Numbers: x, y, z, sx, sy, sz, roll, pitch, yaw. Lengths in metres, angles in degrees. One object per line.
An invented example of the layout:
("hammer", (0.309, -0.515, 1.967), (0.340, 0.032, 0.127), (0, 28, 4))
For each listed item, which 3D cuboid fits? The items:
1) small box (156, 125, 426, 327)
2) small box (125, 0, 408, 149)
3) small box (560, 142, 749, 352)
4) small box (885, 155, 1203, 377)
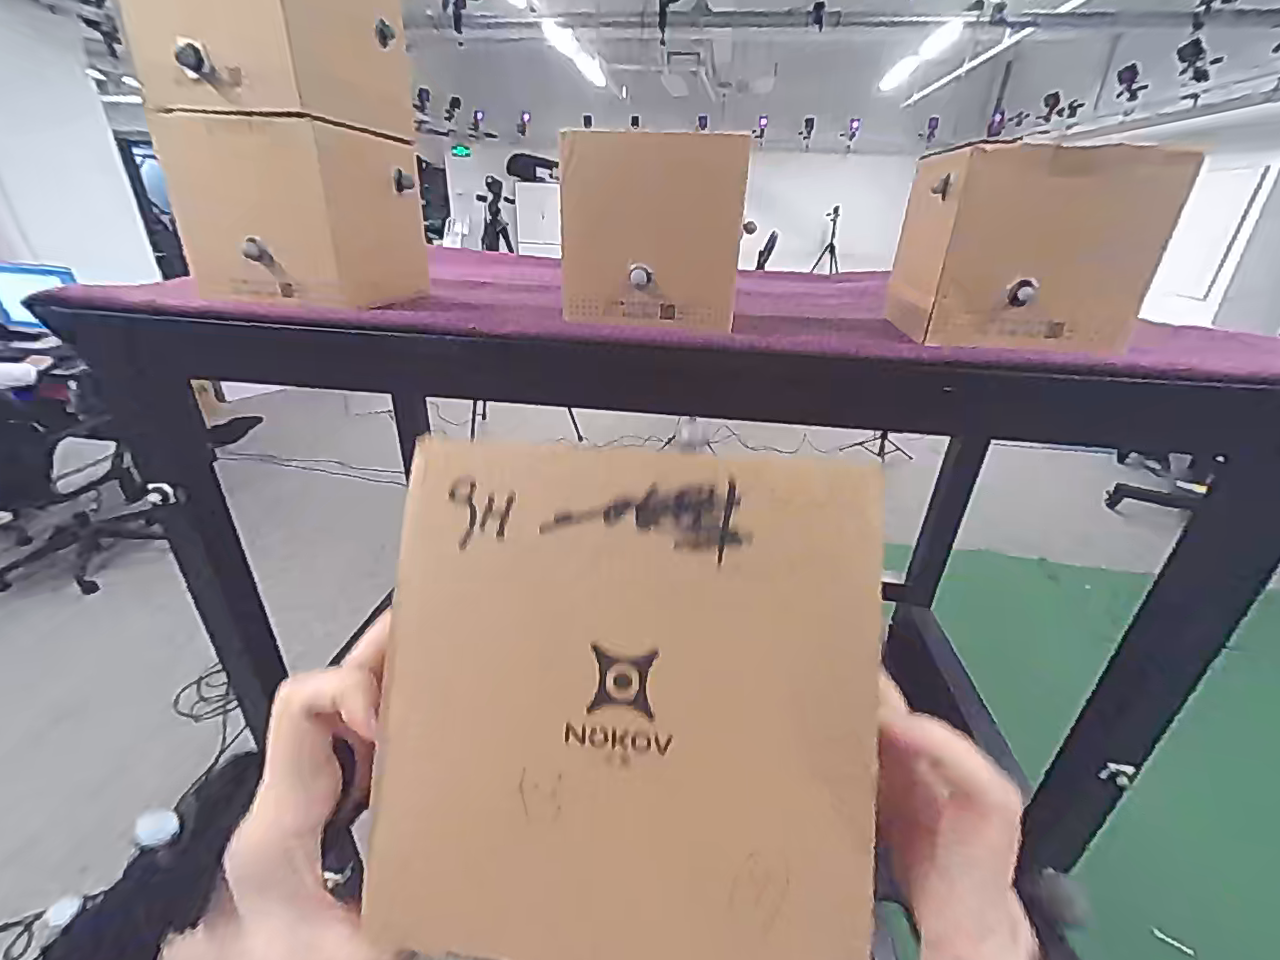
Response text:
("small box", (-0.352, -0.271, 0.588), (0.168, 0.176, 0.179), (5, 27, 7))
("small box", (-0.344, -0.416, 0.515), (0.168, 0.176, 0.179), (6, 27, 9))
("small box", (0.020, -0.242, 0.561), (0.168, 0.176, 0.179), (6, 29, 7))
("small box", (0.356, -0.211, 0.527), (0.168, 0.176, 0.179), (6, 29, 9))
